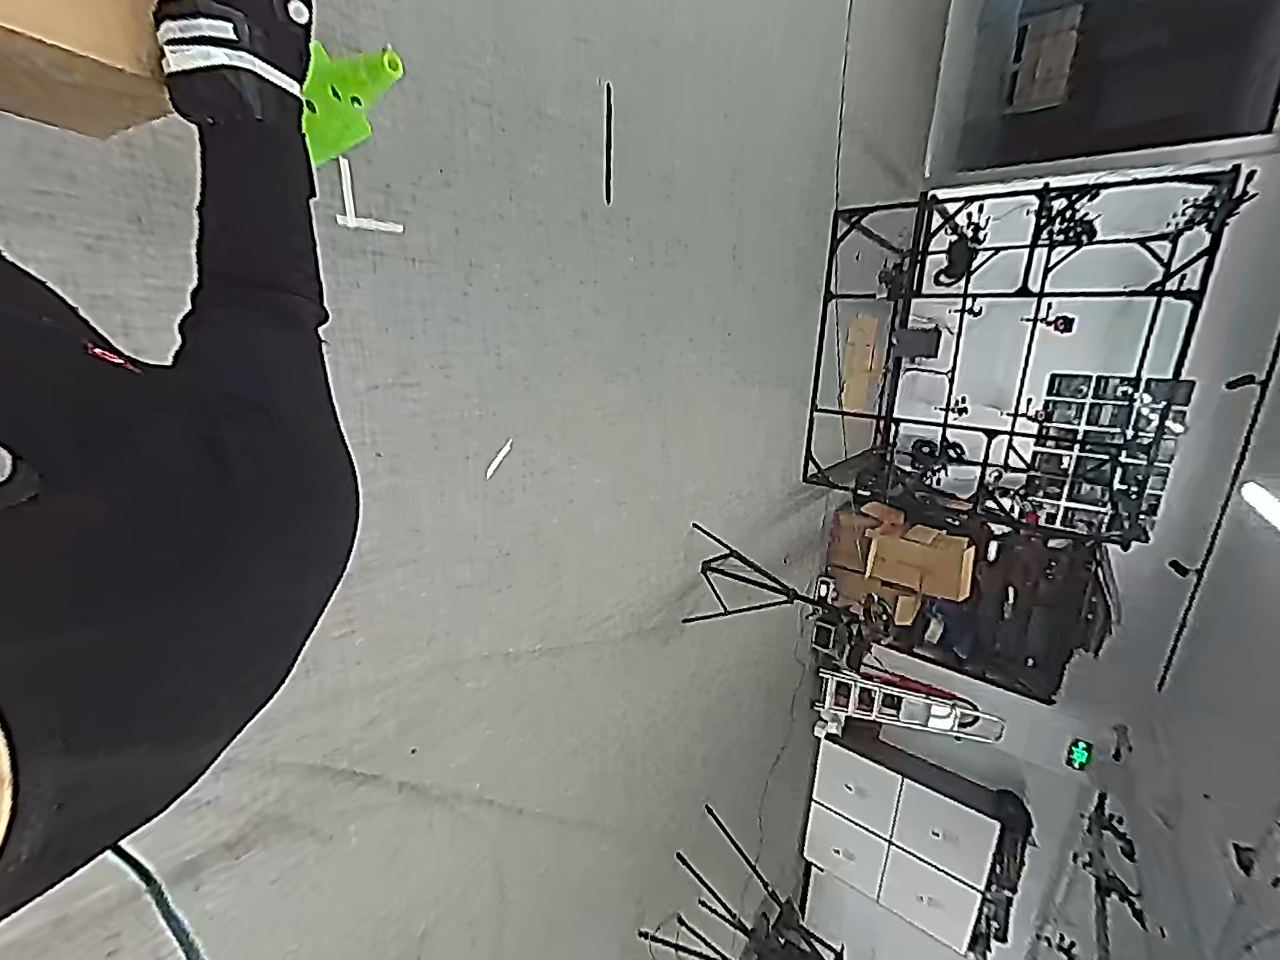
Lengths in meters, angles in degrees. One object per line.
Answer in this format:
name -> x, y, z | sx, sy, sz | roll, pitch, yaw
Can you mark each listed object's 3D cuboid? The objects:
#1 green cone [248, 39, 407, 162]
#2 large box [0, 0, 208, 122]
green cone -> -0.620, -0.844, 1.156 | 0.202, 0.368, 0.200 | -57, 141, -28
large box -> -0.528, -0.443, 0.274 | 0.408, 0.320, 0.320 | -12, 115, -54
